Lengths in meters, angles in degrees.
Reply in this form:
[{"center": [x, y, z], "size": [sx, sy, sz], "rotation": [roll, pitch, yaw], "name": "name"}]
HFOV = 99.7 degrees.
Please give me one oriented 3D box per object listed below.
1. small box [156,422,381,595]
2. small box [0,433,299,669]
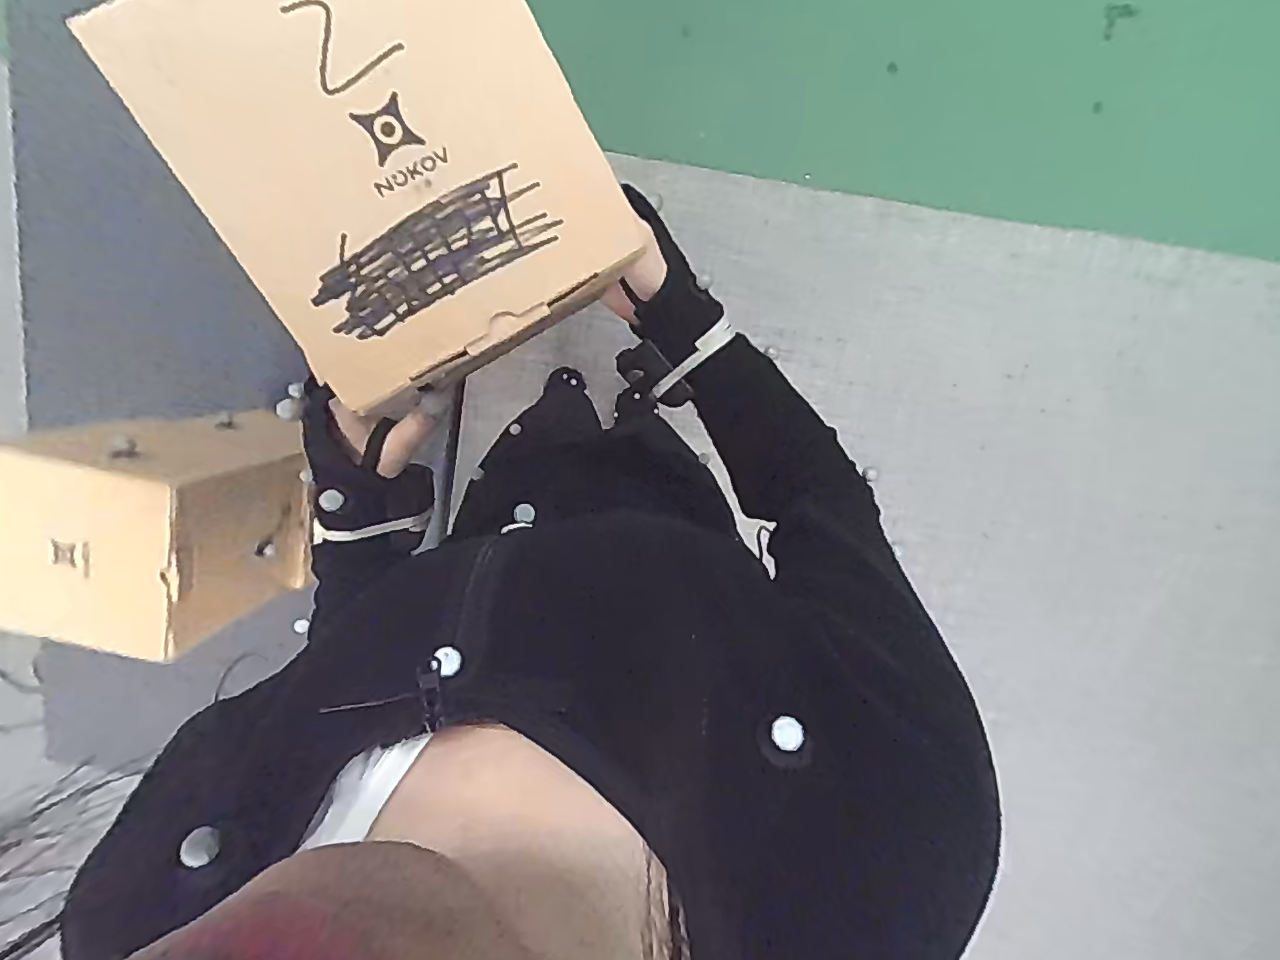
[{"center": [-0.462, 0.024, 0.688], "size": [0.179, 0.176, 0.168], "rotation": [11, 102, 0], "name": "small box"}, {"center": [-0.476, 0.053, 0.529], "size": [0.179, 0.176, 0.168], "rotation": [12, 101, -1], "name": "small box"}]
